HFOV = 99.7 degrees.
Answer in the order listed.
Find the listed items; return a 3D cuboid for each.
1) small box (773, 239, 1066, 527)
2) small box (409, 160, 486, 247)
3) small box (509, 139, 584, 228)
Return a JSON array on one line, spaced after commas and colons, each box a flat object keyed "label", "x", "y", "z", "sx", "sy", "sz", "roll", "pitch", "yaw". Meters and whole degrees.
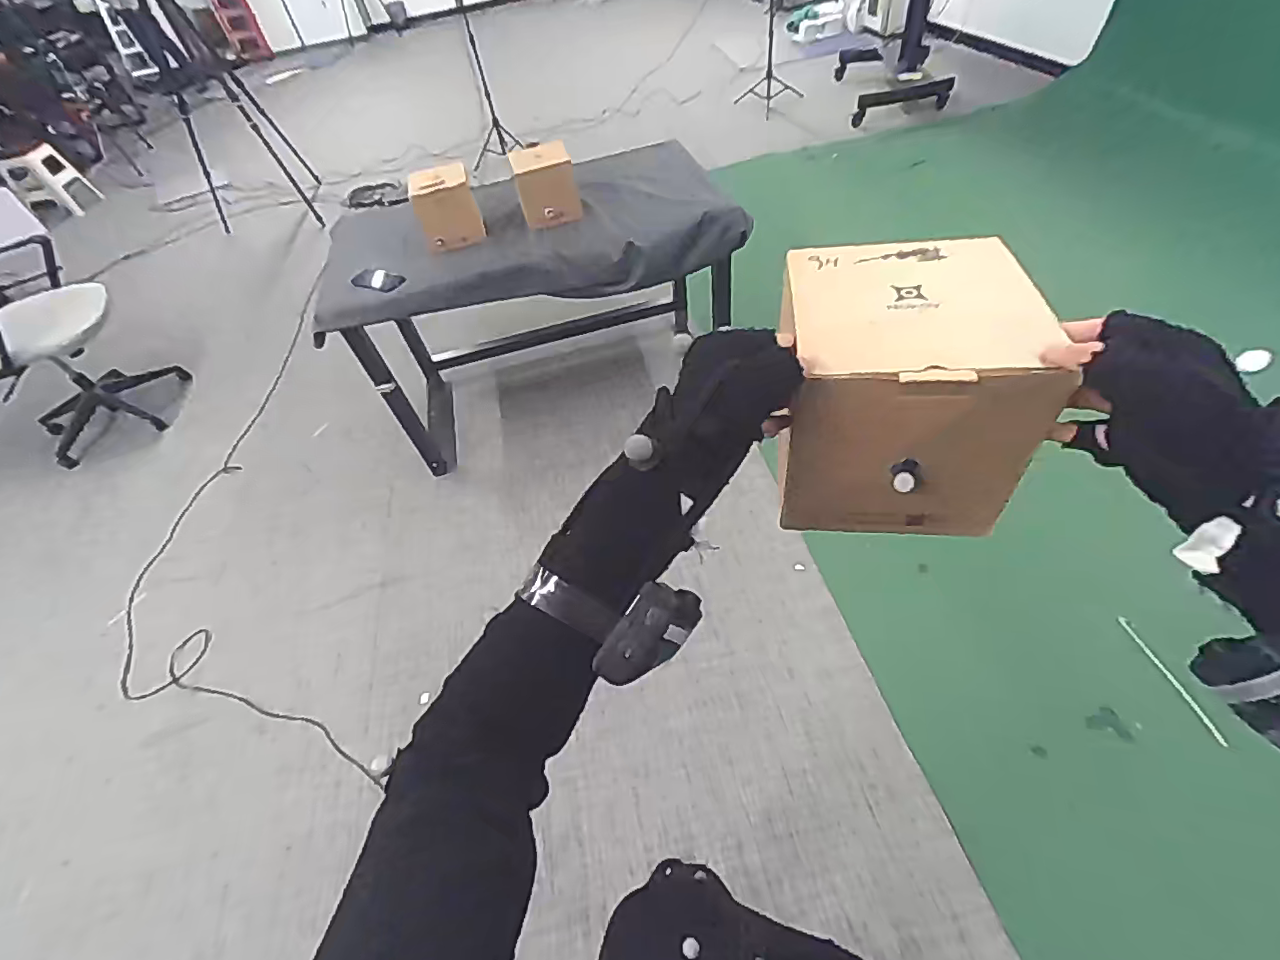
[{"label": "small box", "x": 0.202, "y": -0.076, "z": 0.454, "sx": 0.168, "sy": 0.176, "sz": 0.179, "roll": 1, "pitch": 49, "yaw": 10}, {"label": "small box", "x": -0.563, "y": -0.809, "z": 1.594, "sx": 0.168, "sy": 0.176, "sz": 0.179, "roll": -17, "pitch": 49, "yaw": -5}, {"label": "small box", "x": -0.277, "y": -0.881, "z": 1.612, "sx": 0.168, "sy": 0.176, "sz": 0.179, "roll": -18, "pitch": 51, "yaw": -4}]
